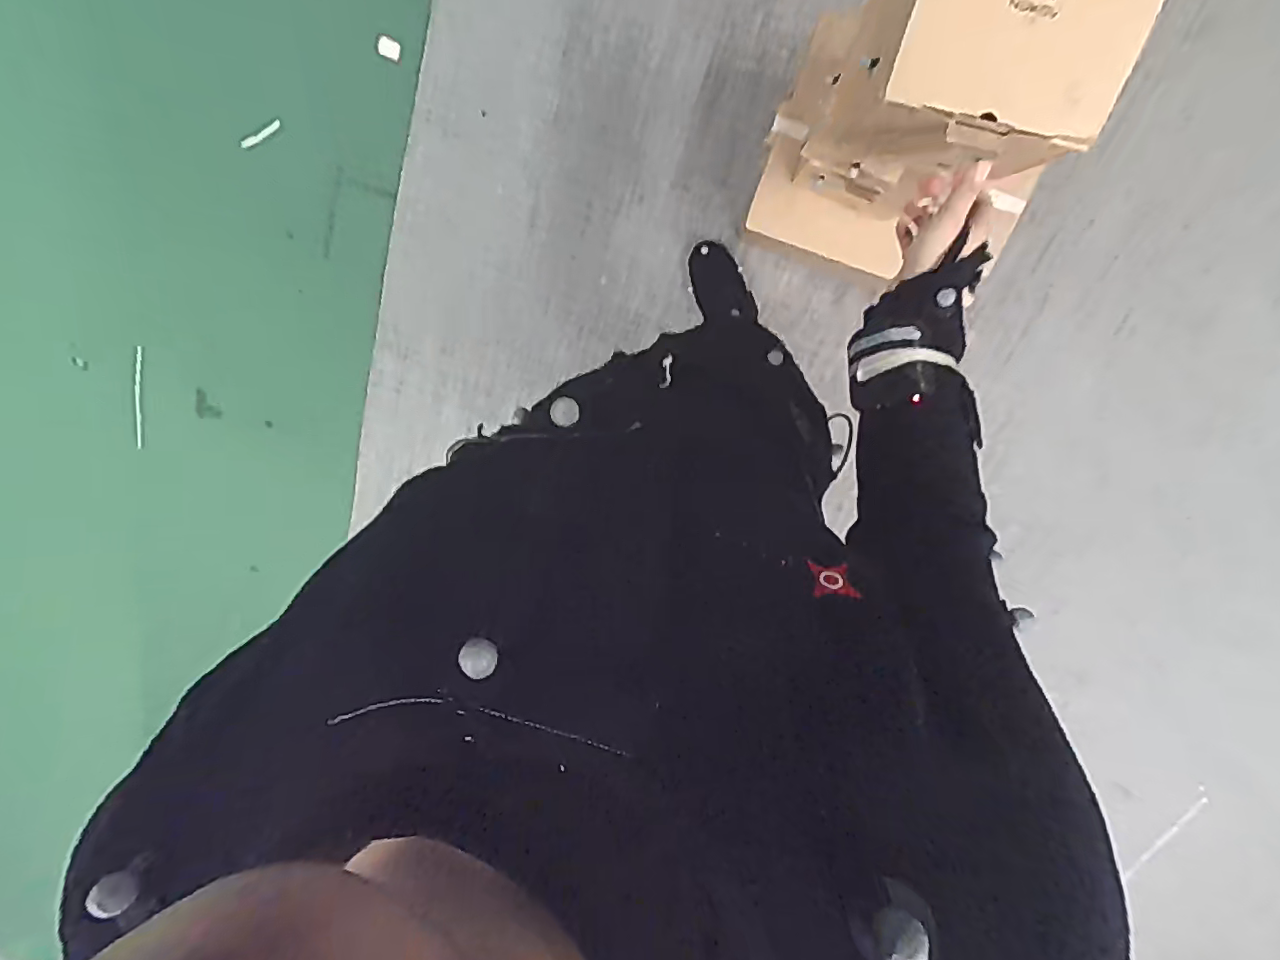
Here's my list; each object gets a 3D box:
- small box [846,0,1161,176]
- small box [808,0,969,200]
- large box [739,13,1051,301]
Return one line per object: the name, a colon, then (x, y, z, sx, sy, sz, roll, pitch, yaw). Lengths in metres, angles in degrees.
small box: (0.290, -0.376, 0.452, 0.168, 0.176, 0.179, 15, 111, 1)
small box: (0.306, -0.440, 0.601, 0.168, 0.176, 0.179, 24, 112, -2)
large box: (0.425, -0.542, 0.983, 0.408, 0.320, 0.320, 19, 112, 0)
